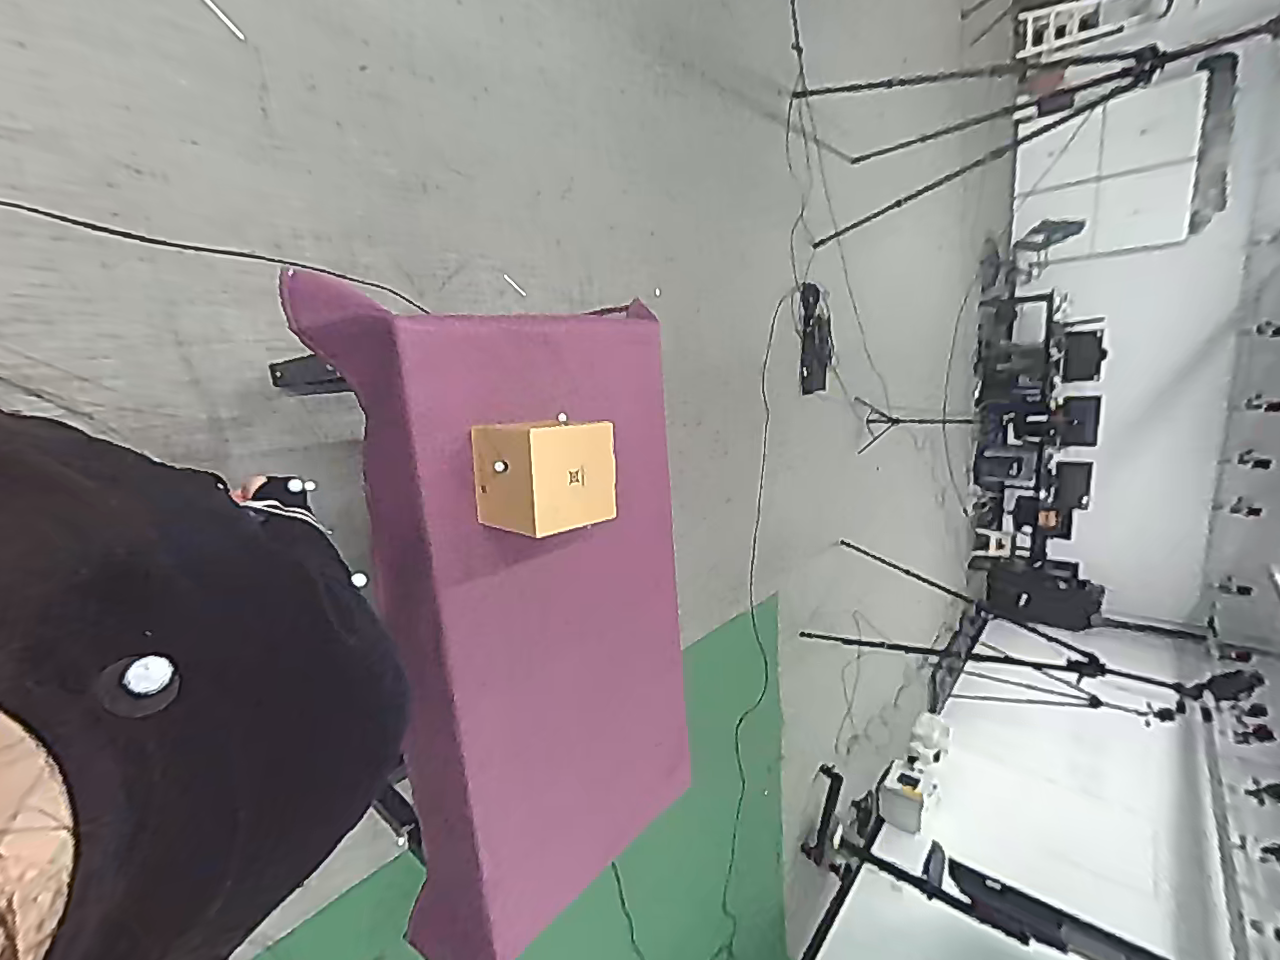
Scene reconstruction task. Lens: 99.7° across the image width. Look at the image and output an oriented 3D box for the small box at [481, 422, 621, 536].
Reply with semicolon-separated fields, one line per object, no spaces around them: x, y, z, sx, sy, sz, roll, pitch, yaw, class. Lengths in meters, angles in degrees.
-0.153;-0.011;0.910;0.179;0.176;0.168;-11;103;-47;small box
